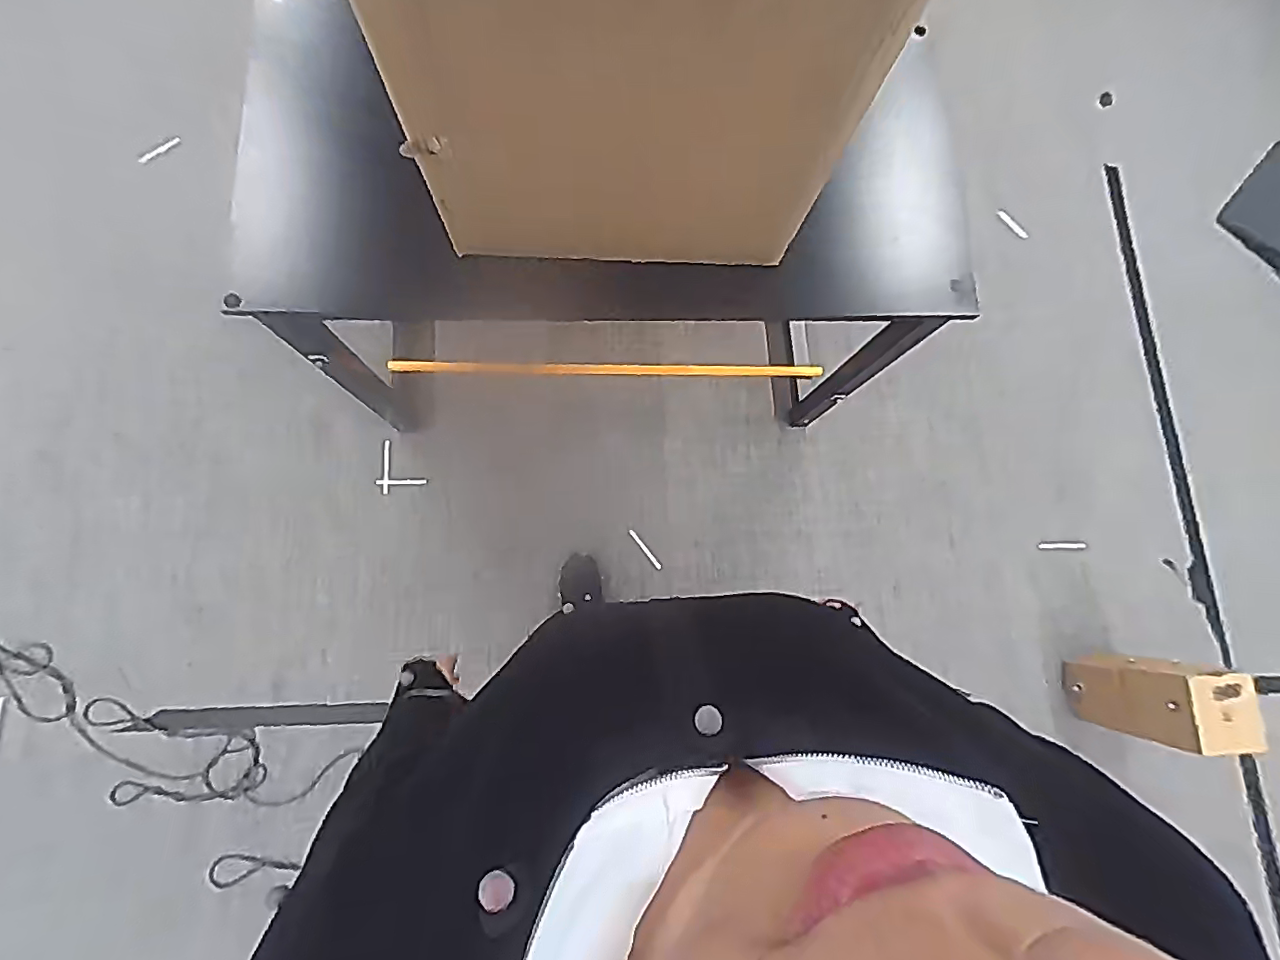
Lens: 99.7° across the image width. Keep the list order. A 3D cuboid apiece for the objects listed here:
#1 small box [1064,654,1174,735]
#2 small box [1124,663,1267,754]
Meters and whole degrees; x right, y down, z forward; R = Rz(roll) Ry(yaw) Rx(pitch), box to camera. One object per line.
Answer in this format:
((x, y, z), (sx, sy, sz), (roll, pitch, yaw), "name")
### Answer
((1.325, 0.579, 1.481), (0.179, 0.176, 0.168), (-6, 79, -5), "small box")
((1.340, 0.549, 1.320), (0.168, 0.176, 0.179), (-2, 80, -5), "small box")
